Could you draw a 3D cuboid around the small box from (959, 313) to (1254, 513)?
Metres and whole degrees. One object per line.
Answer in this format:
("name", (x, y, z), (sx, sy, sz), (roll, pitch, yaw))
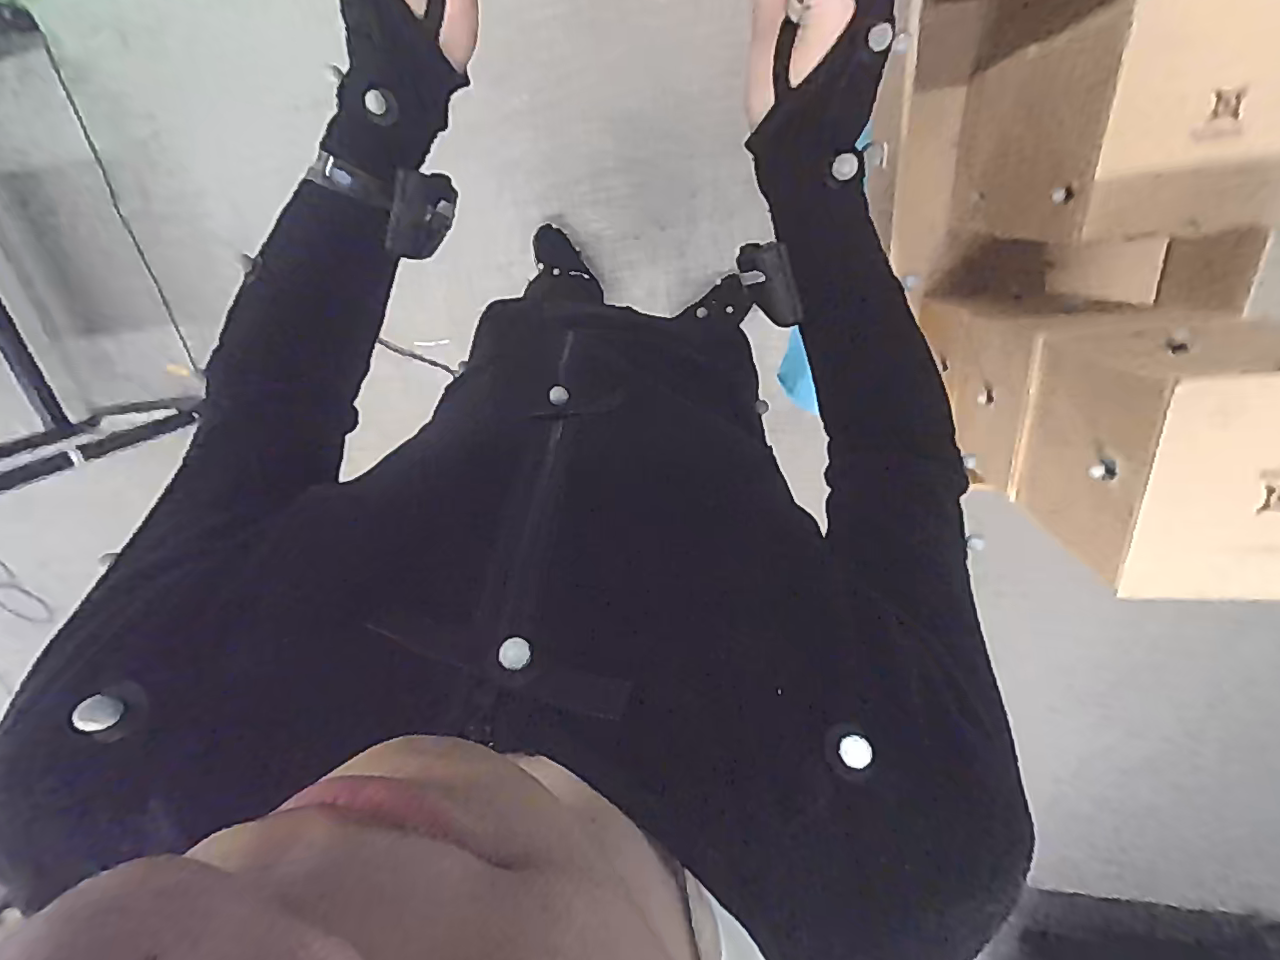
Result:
("small box", (0.467, -0.077, 0.581), (0.168, 0.176, 0.179), (-2, 111, 10))

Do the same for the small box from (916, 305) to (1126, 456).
("small box", (0.491, -0.141, 0.730), (0.168, 0.176, 0.179), (0, 112, 10))
